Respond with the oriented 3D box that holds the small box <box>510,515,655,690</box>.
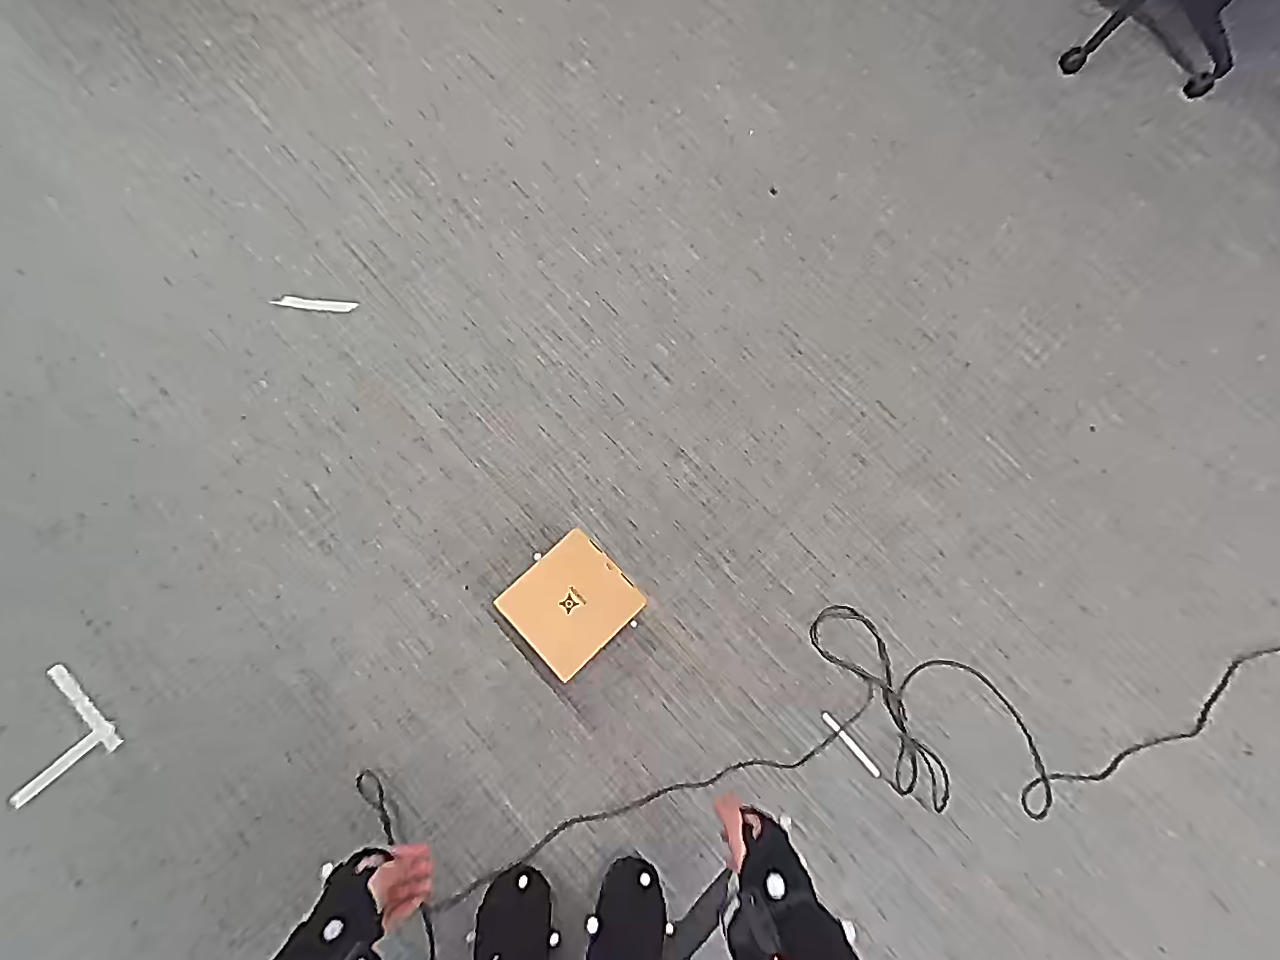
[{"bbox_3d":[-0.090,0.192,0.865,0.179,0.176,0.168,35,54,23],"label":"small box"}]
